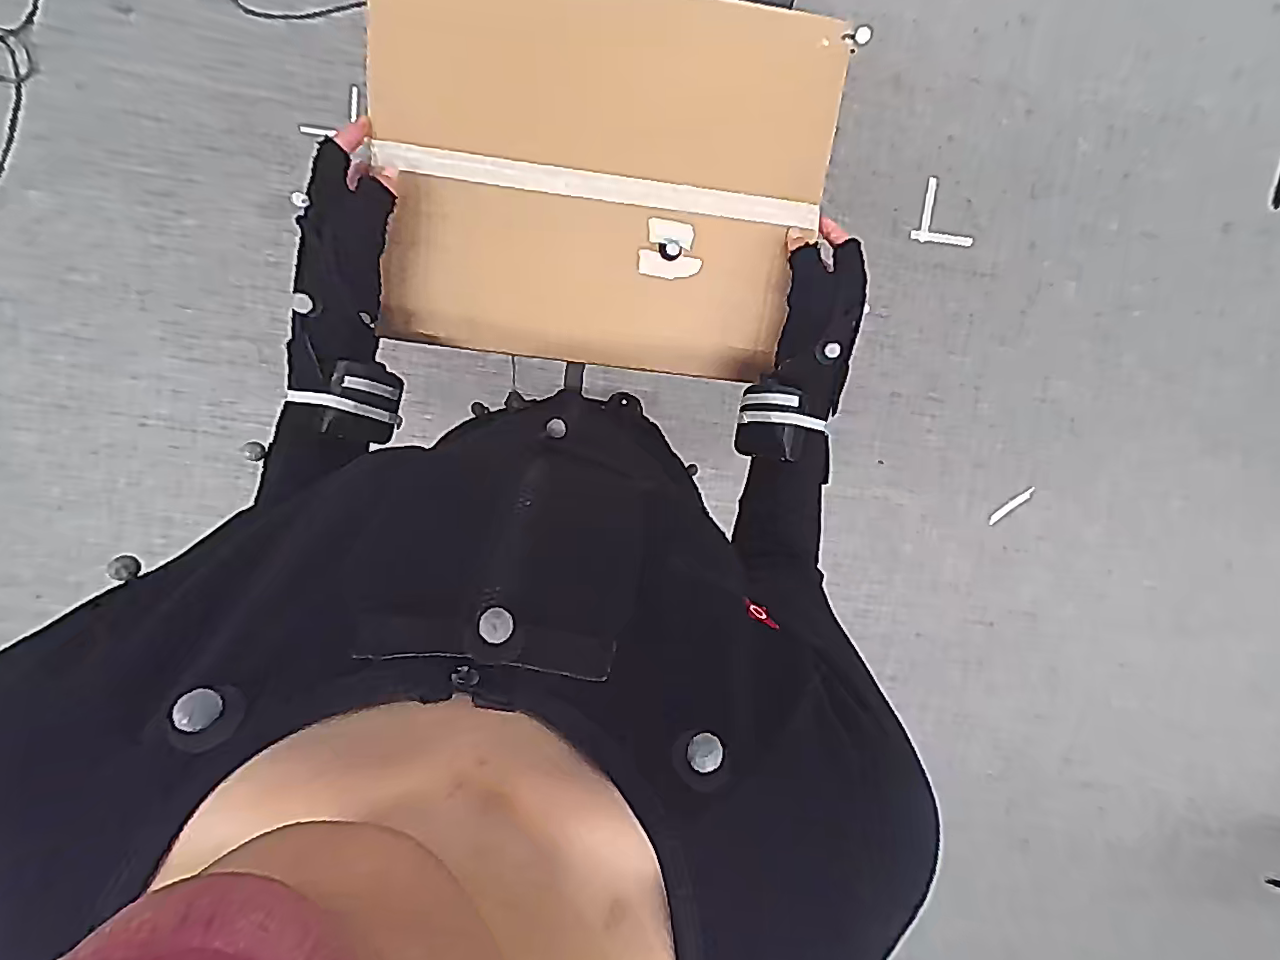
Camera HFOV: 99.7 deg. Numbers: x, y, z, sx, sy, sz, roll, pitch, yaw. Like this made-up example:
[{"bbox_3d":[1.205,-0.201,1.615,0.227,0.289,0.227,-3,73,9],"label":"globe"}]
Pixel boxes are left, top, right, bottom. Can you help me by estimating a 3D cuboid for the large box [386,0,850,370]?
[{"bbox_3d":[-0.038,-0.315,0.639,0.408,0.320,0.320,5,107,-6],"label":"large box"}]
